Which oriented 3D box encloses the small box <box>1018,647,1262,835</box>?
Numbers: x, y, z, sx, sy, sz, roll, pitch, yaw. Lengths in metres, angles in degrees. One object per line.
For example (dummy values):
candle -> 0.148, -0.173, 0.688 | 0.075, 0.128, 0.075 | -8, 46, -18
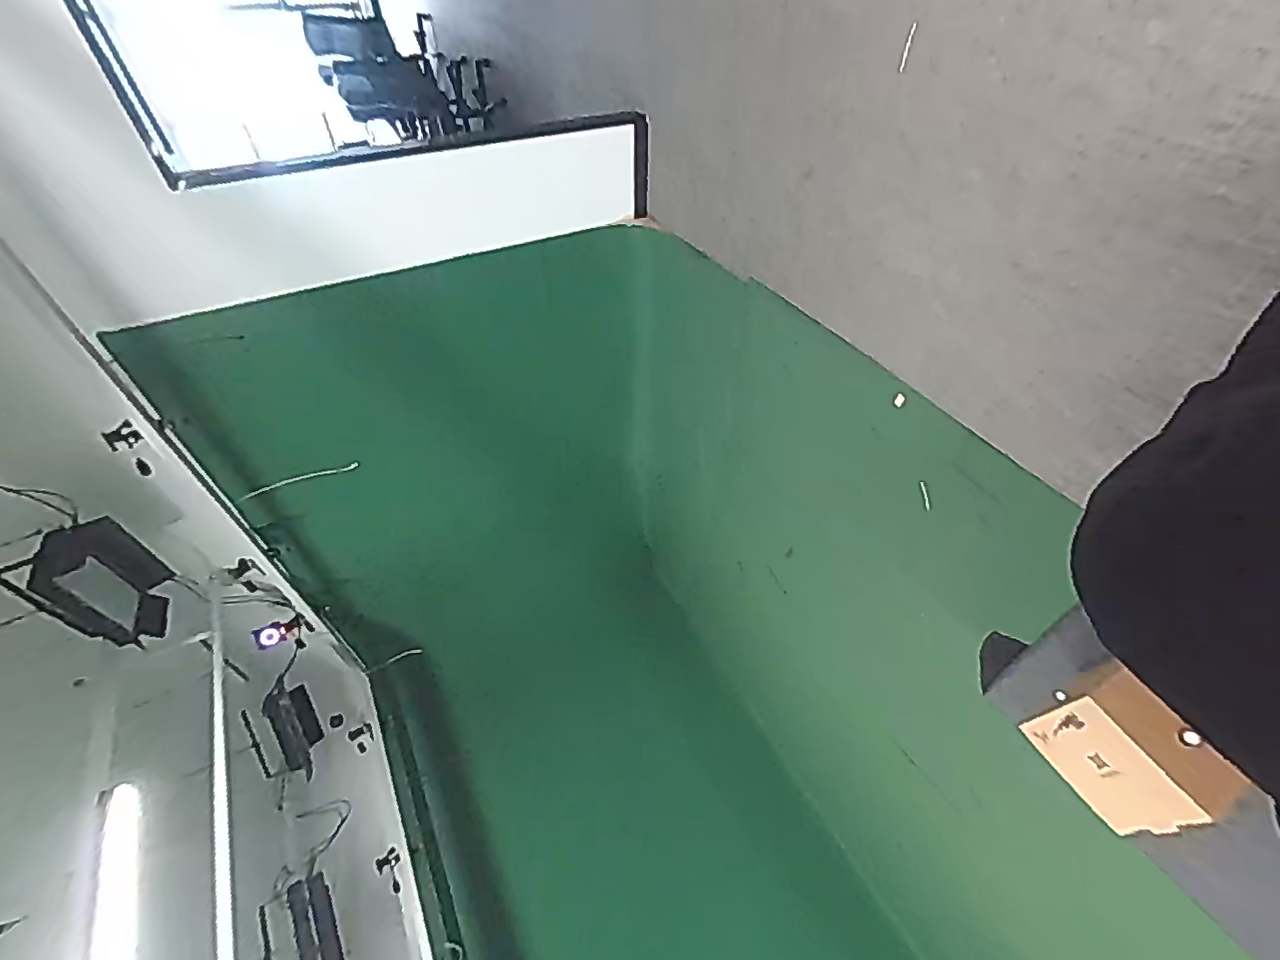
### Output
small box -> 0.733, 0.385, 0.804 | 0.179, 0.176, 0.168 | 55, 155, 31
